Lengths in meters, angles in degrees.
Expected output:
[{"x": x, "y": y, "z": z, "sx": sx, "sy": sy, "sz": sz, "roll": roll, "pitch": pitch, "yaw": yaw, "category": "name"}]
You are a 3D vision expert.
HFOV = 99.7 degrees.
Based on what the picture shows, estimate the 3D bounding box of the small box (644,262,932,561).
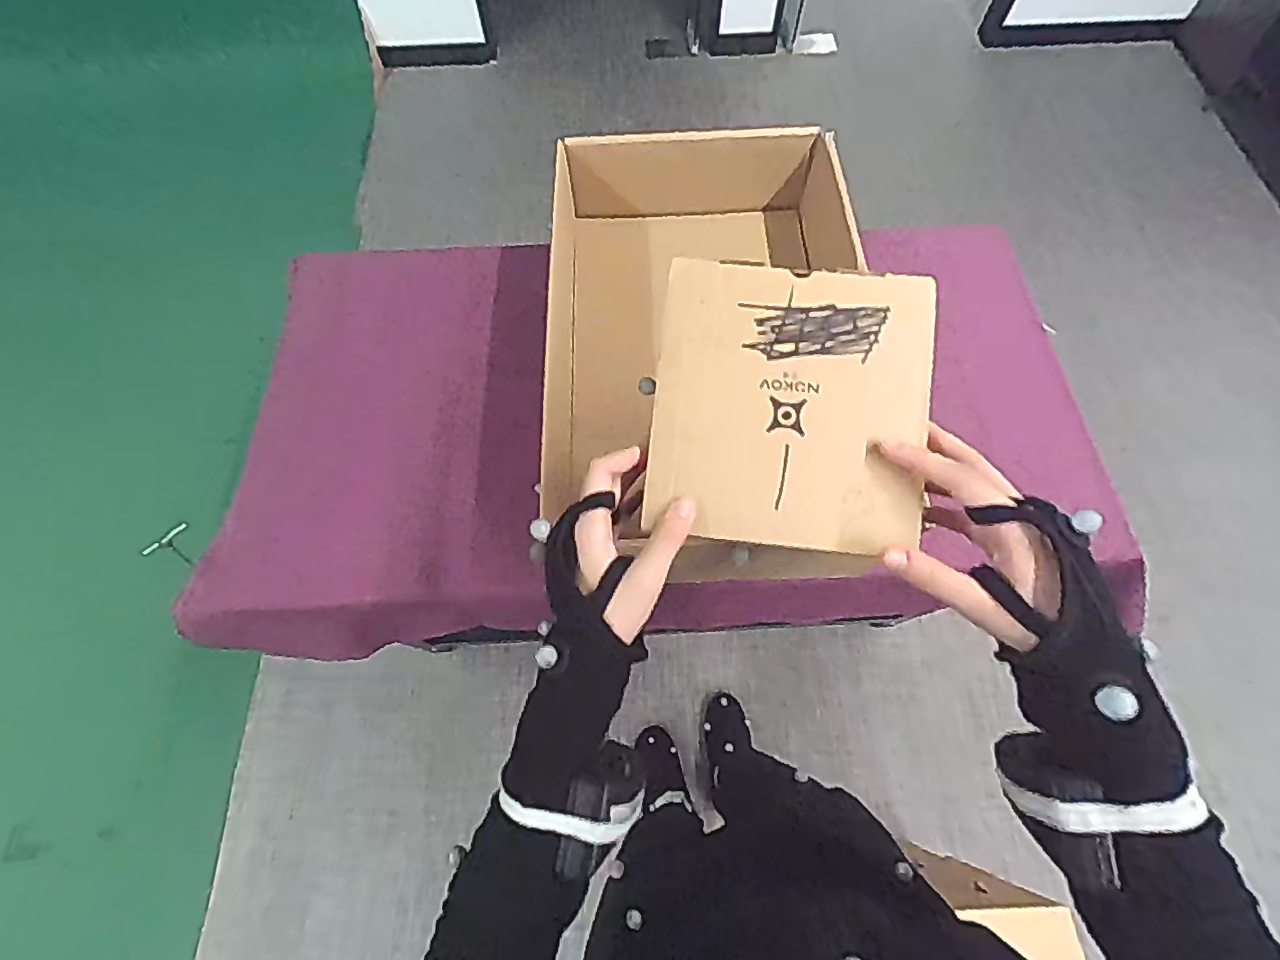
[{"x": 0.096, "y": -0.037, "z": 0.412, "sx": 0.168, "sy": 0.176, "sz": 0.179, "roll": 6, "pitch": 85, "yaw": 4, "category": "small box"}]

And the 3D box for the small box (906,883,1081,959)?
[{"x": 0.521, "y": 0.717, "z": 0.799, "sx": 0.168, "sy": 0.176, "sz": 0.179, "roll": -2, "pitch": 65, "yaw": 0, "category": "small box"}]
